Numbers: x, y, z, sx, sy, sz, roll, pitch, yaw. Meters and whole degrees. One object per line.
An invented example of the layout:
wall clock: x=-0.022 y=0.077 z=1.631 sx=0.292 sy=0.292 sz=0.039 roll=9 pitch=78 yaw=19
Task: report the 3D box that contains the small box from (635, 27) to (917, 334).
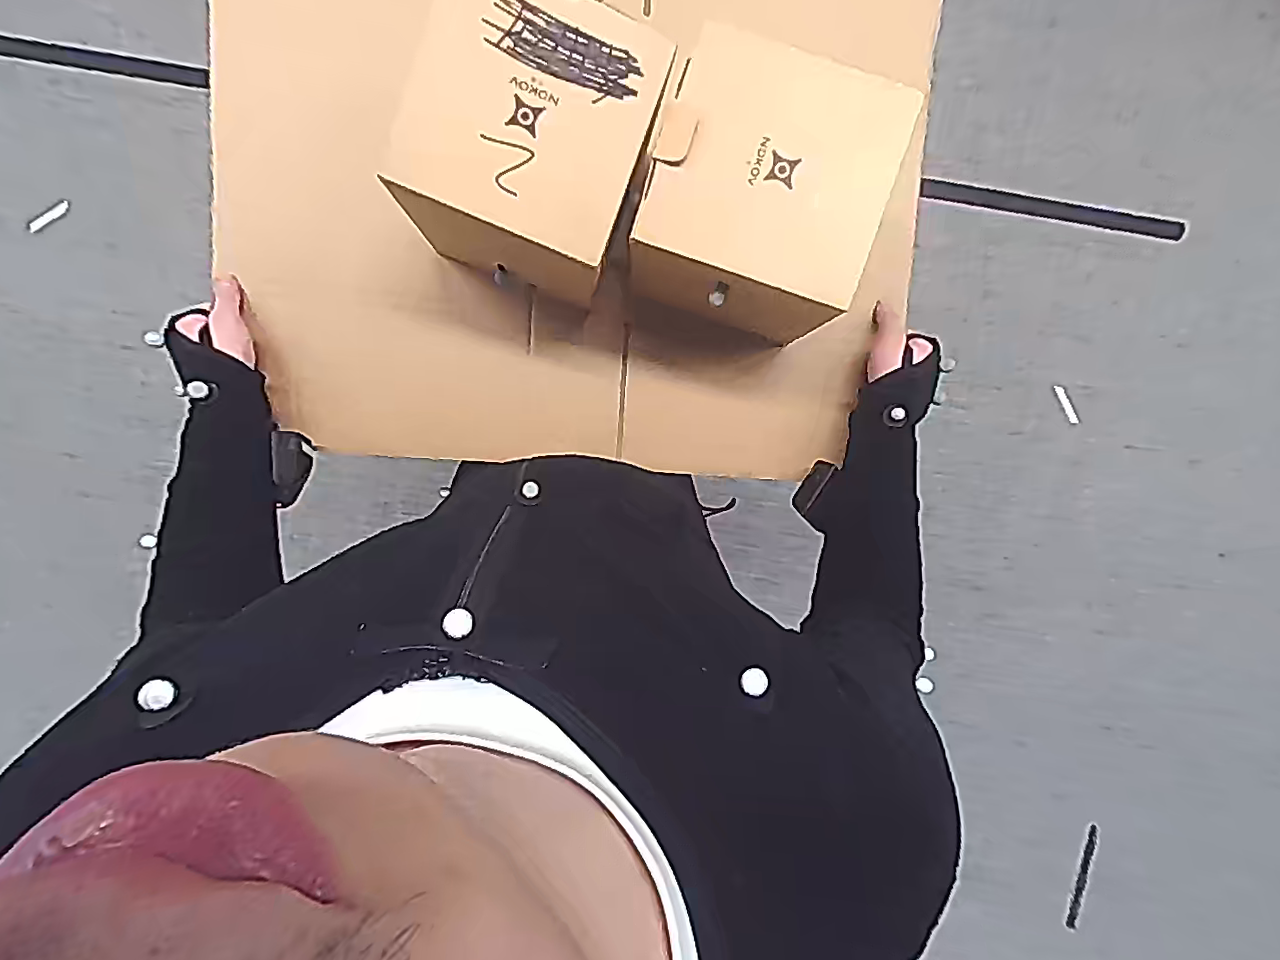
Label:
small box: x=0.104 y=-0.243 z=0.491 sx=0.179 sy=0.176 sz=0.168 roll=18 pitch=95 yaw=-1
